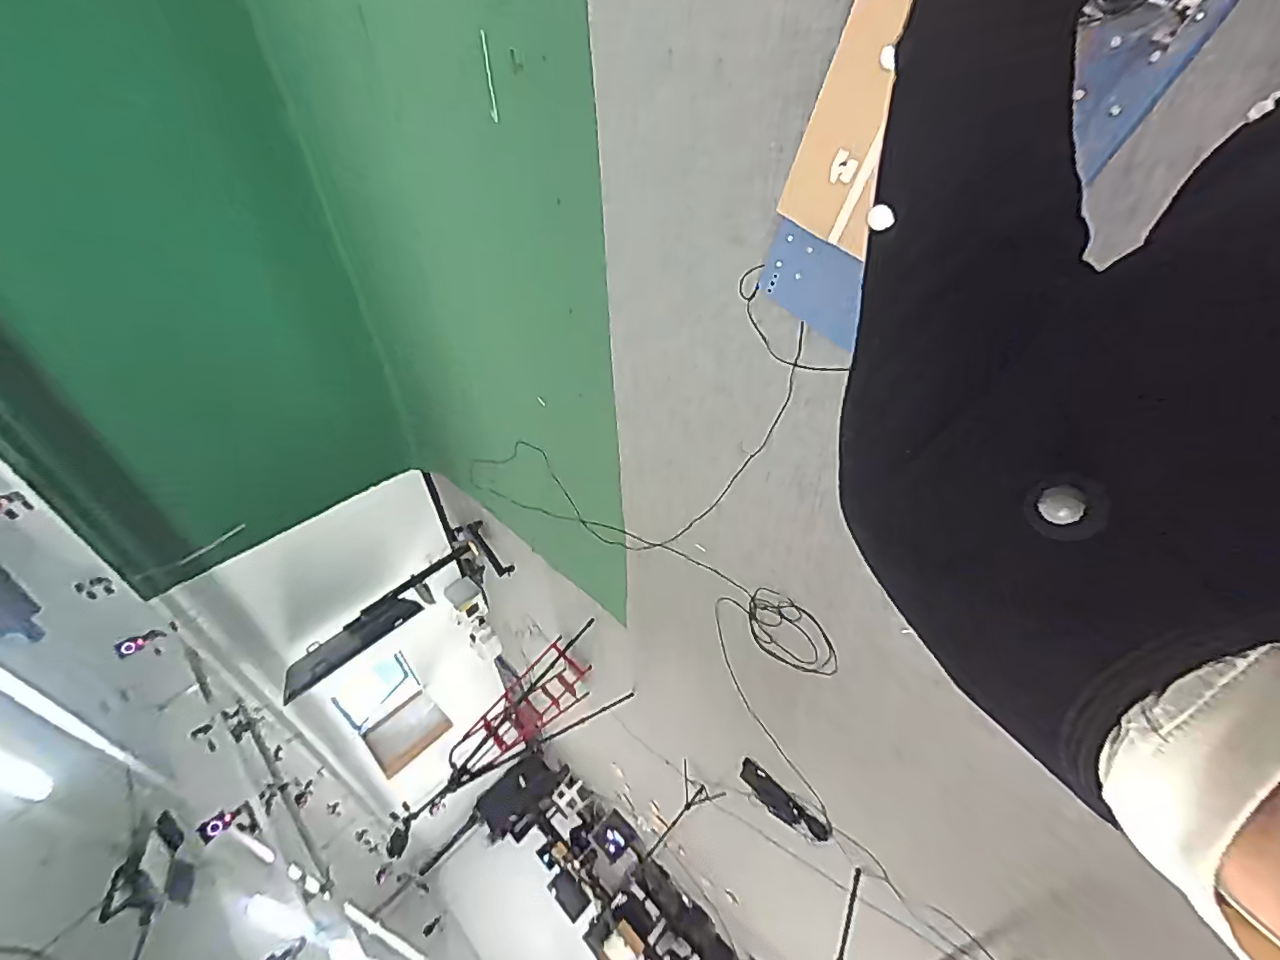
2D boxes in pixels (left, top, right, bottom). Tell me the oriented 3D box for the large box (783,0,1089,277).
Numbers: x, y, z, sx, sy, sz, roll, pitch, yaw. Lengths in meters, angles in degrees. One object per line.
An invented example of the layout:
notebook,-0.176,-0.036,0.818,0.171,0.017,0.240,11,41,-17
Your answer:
large box,0.554,-0.696,1.067,0.320,0.320,0.408,42,146,20
